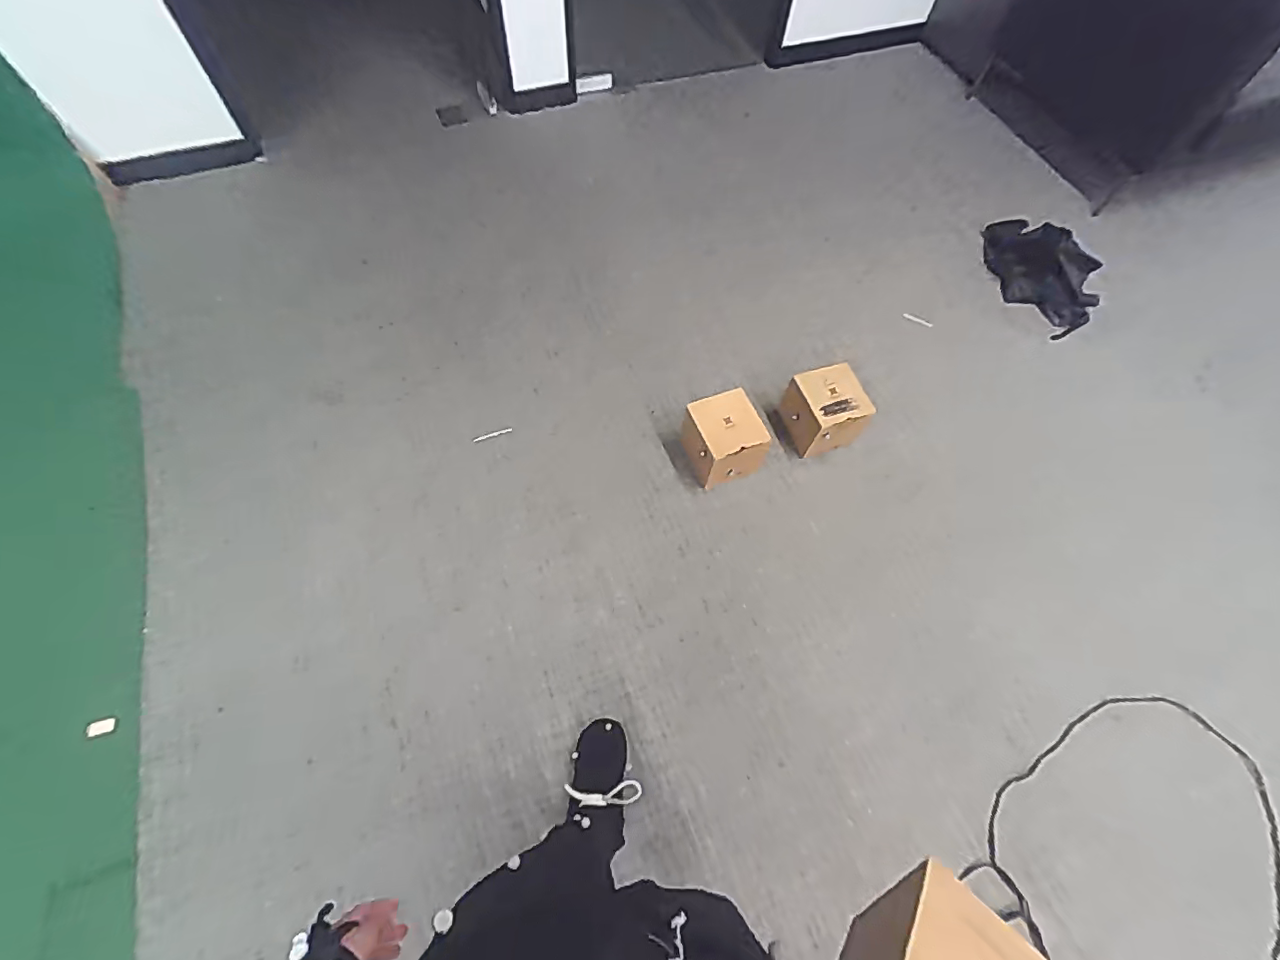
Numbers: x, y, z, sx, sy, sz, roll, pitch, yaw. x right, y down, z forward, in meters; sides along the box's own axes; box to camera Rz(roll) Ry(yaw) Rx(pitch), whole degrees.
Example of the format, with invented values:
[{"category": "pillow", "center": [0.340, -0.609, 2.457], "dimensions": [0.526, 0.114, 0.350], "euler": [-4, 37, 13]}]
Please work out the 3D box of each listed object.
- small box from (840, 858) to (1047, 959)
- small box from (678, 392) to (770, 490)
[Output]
[{"category": "small box", "center": [0.307, 0.550, 0.545], "dimensions": [0.168, 0.176, 0.179], "euler": [39, 29, 25]}, {"category": "small box", "center": [0.212, -0.100, 1.434], "dimensions": [0.168, 0.176, 0.179], "euler": [-19, 66, -14]}]
